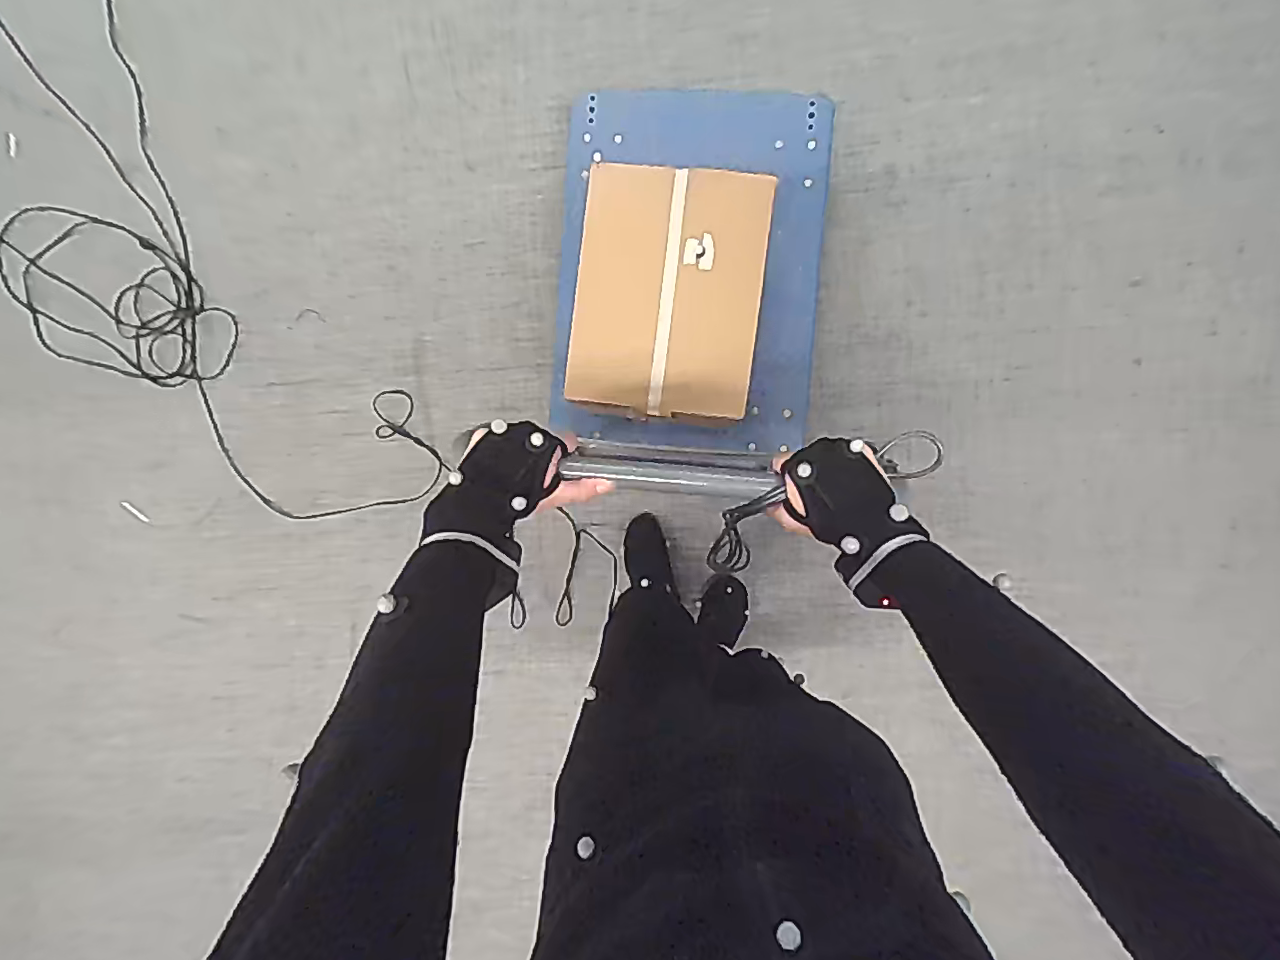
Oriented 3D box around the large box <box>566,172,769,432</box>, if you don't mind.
[{"bbox_3d":[0.057,-0.315,1.065,0.320,0.320,0.408,7,92,4],"label":"large box"}]
